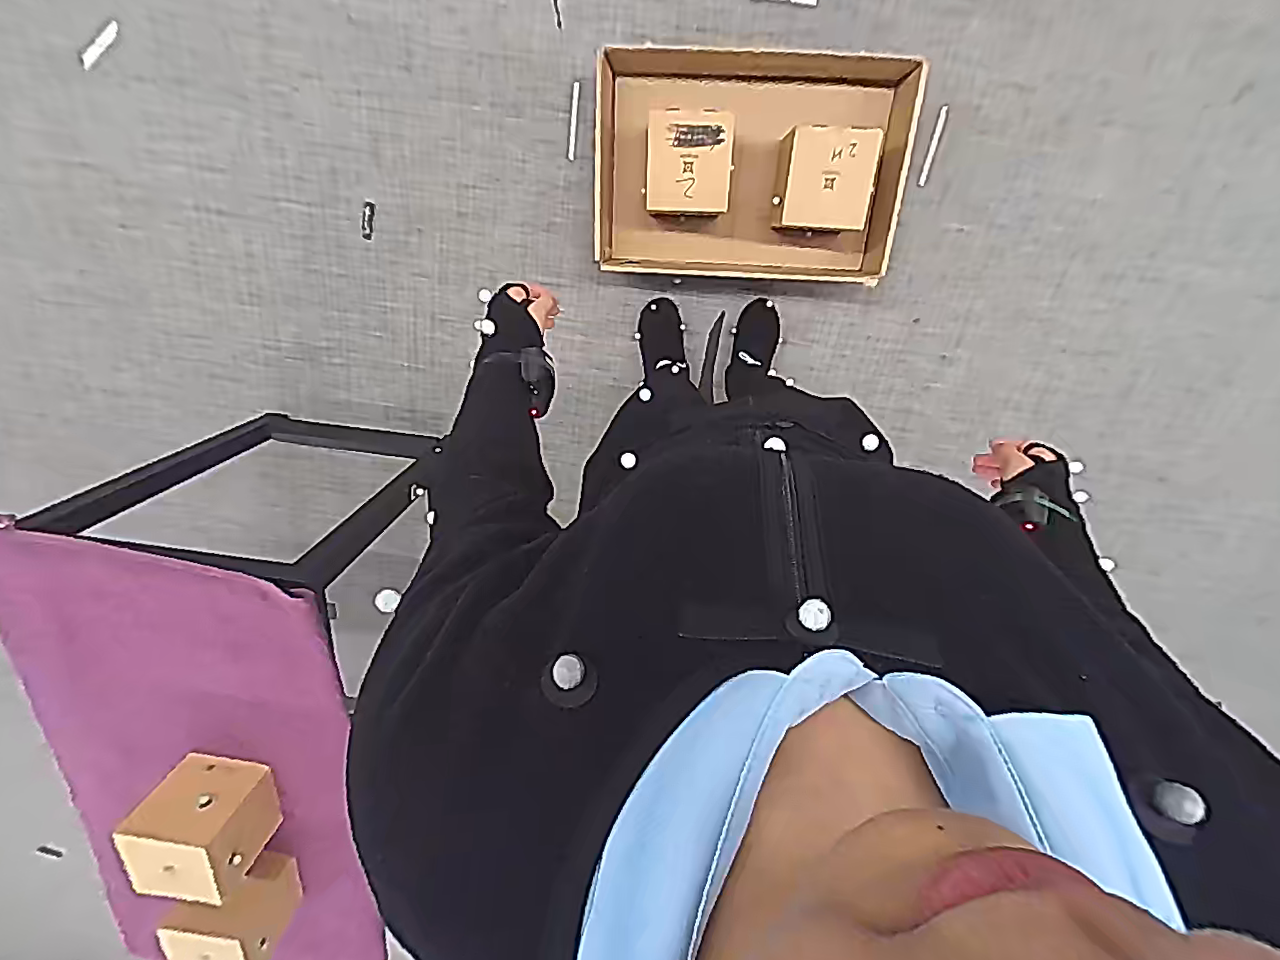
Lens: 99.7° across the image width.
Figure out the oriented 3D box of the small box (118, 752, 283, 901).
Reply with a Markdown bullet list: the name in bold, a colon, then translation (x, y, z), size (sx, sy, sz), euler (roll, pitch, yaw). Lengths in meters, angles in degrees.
- **small box**: translation (-0.825, 0.656, 1.037), size (0.168, 0.176, 0.179), euler (9, 115, 0)

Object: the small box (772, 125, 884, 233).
- **small box**: translation (0.378, -0.615, 1.124), size (0.168, 0.176, 0.179), euler (5, 113, 2)

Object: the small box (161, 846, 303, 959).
- **small box**: translation (-0.852, 0.915, 1.151), size (0.168, 0.176, 0.179), euler (8, 113, 0)
